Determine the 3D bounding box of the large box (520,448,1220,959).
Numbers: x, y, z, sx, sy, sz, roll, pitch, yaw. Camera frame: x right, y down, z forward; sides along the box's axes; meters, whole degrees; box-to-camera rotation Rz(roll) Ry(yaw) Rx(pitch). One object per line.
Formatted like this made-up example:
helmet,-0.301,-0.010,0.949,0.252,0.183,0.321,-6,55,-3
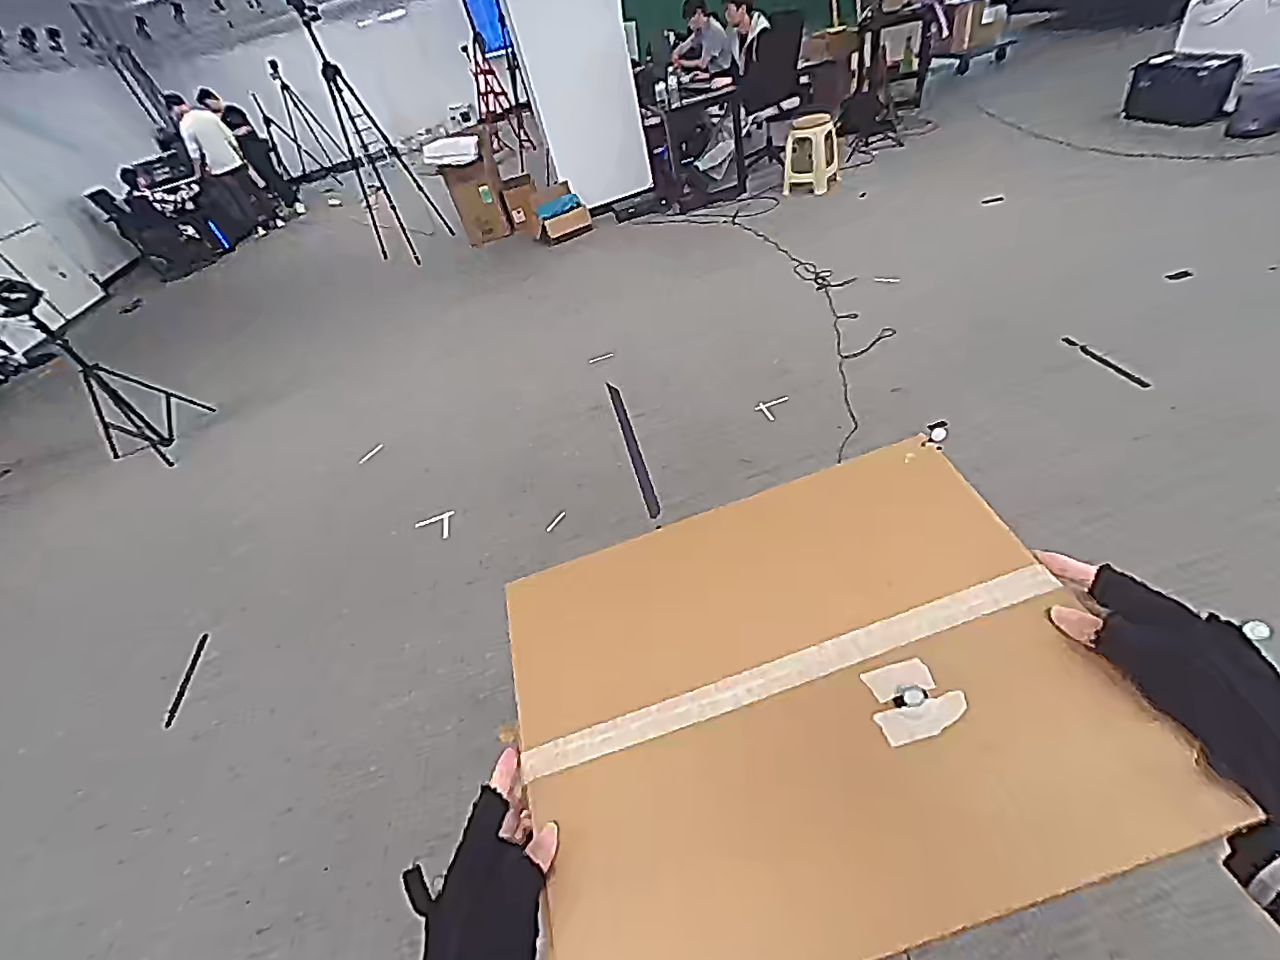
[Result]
large box,0.144,0.236,0.519,0.408,0.320,0.320,-20,51,-1
